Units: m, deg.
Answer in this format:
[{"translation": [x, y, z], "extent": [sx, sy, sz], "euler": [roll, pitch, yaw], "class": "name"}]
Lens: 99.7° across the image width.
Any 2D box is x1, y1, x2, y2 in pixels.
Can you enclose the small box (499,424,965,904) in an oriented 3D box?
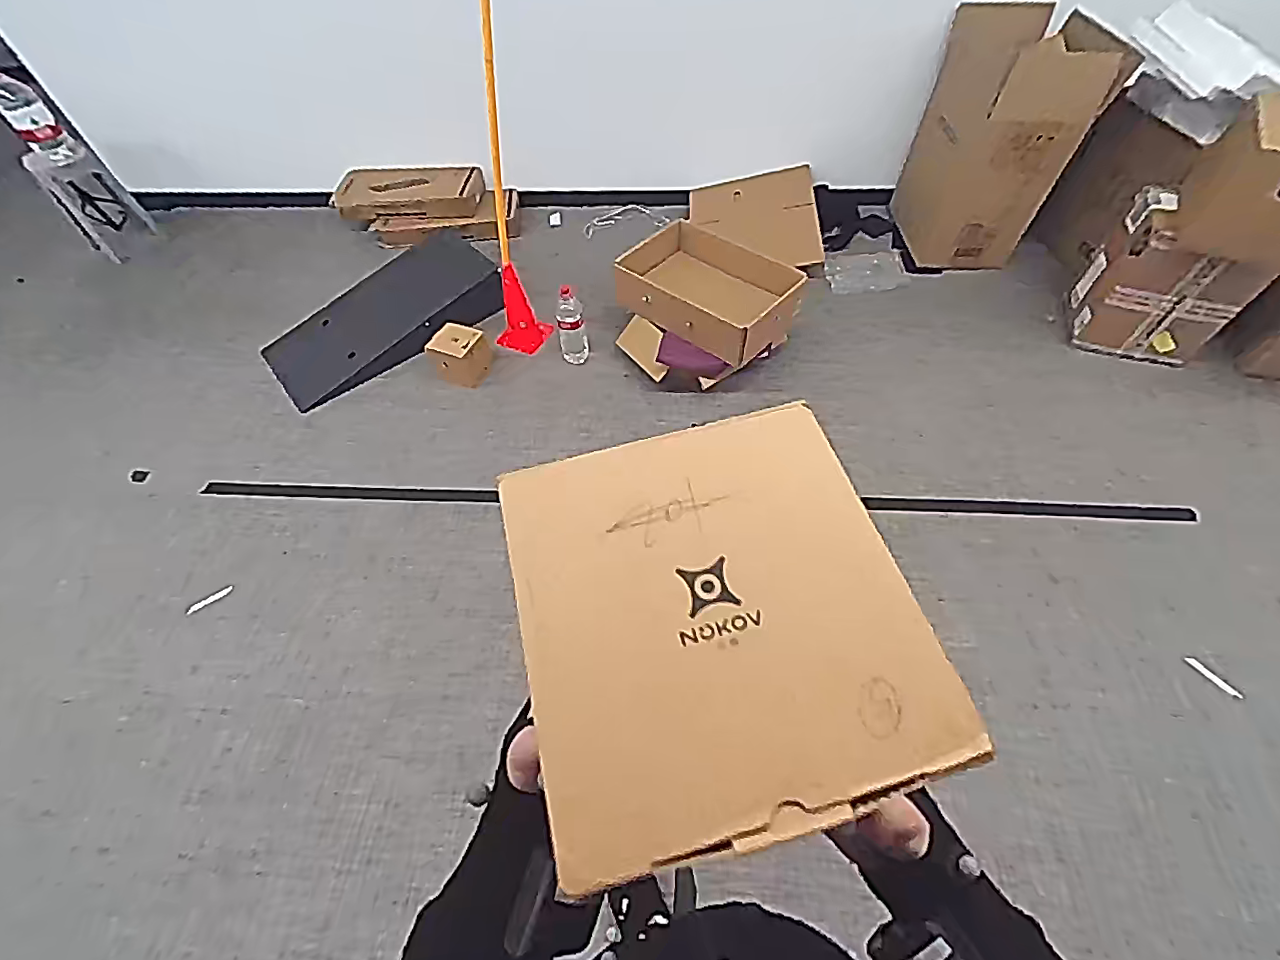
[{"translation": [0.031, 0.100, 0.310], "extent": [0.168, 0.176, 0.179], "euler": [-14, 59, -7], "class": "small box"}]
